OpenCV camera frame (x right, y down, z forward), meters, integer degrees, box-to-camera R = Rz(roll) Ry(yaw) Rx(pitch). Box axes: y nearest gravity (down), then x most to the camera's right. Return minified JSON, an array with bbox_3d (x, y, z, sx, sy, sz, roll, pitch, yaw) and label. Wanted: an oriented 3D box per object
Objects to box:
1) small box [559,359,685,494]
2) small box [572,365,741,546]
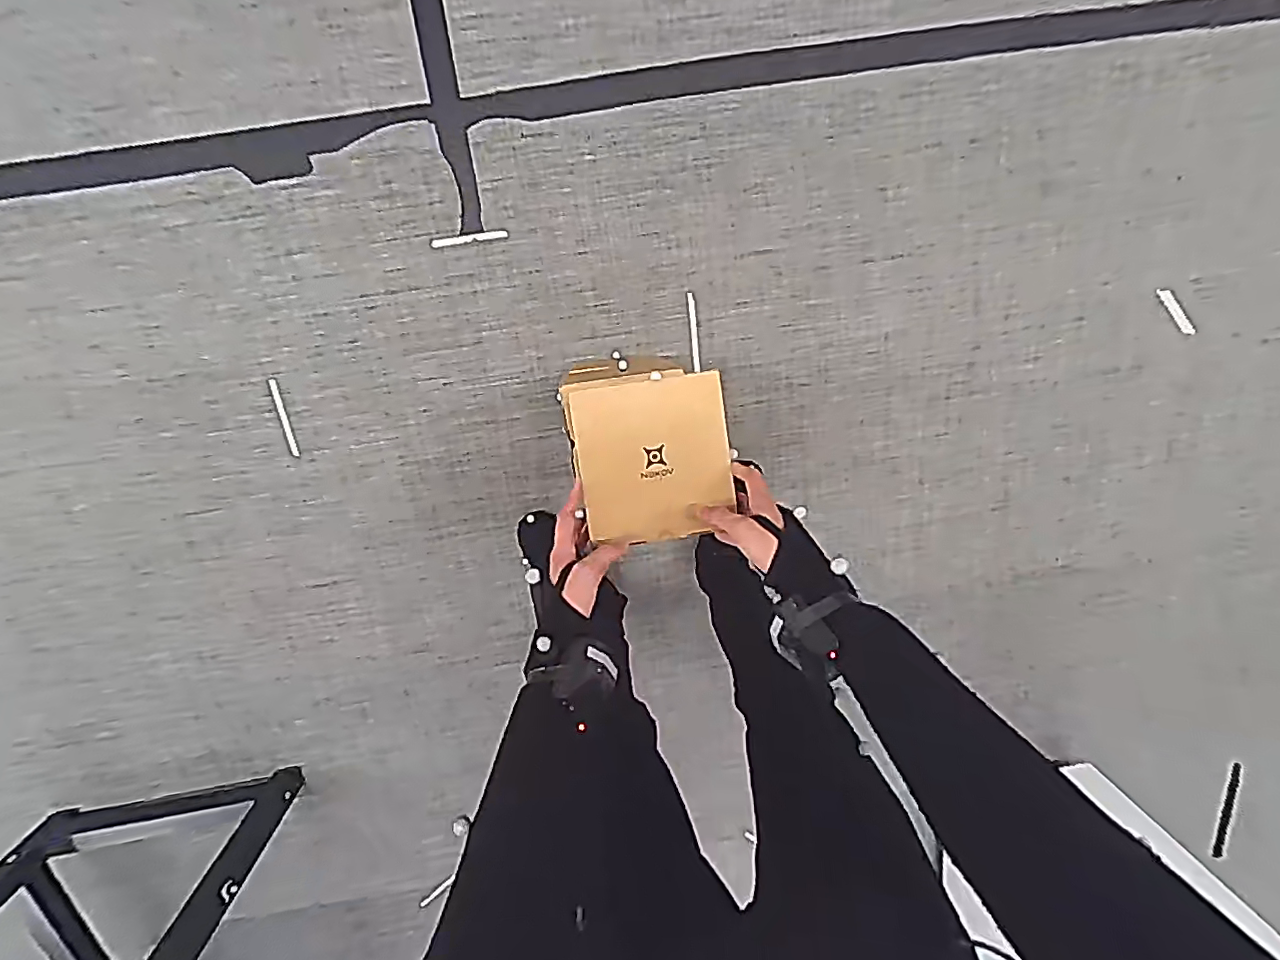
[{"bbox_3d":[-0.021,-0.090,0.834,0.179,0.176,0.168,-9,107,-3],"label":"small box"},{"bbox_3d":[0.012,-0.031,0.653,0.168,0.176,0.179,-9,96,-3],"label":"small box"}]
